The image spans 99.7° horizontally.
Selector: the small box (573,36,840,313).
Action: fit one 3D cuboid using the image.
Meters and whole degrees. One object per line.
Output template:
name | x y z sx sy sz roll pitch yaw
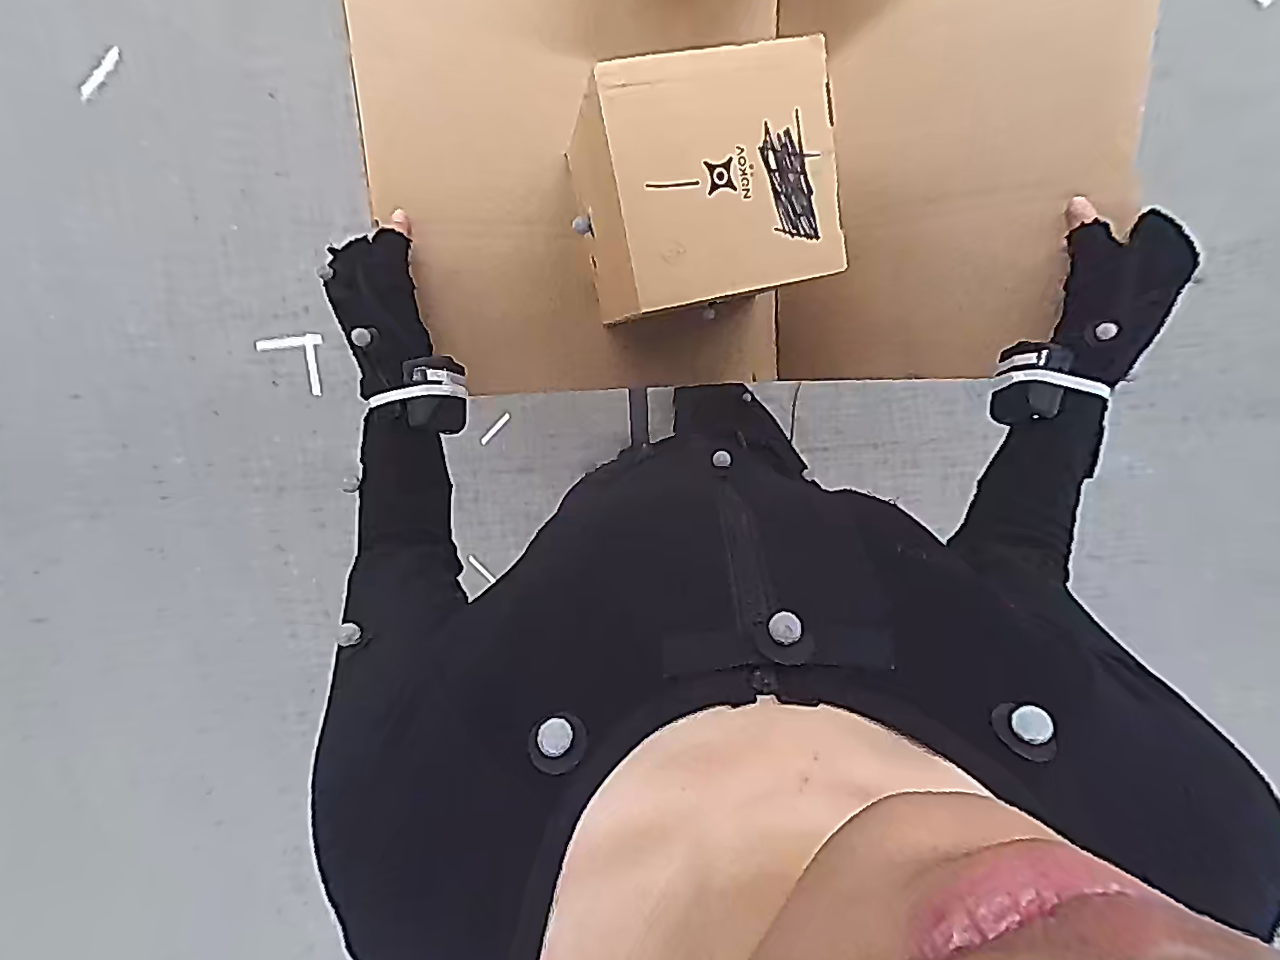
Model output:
small box | 0.049 -0.251 0.483 0.179 0.176 0.168 -14 105 -10
